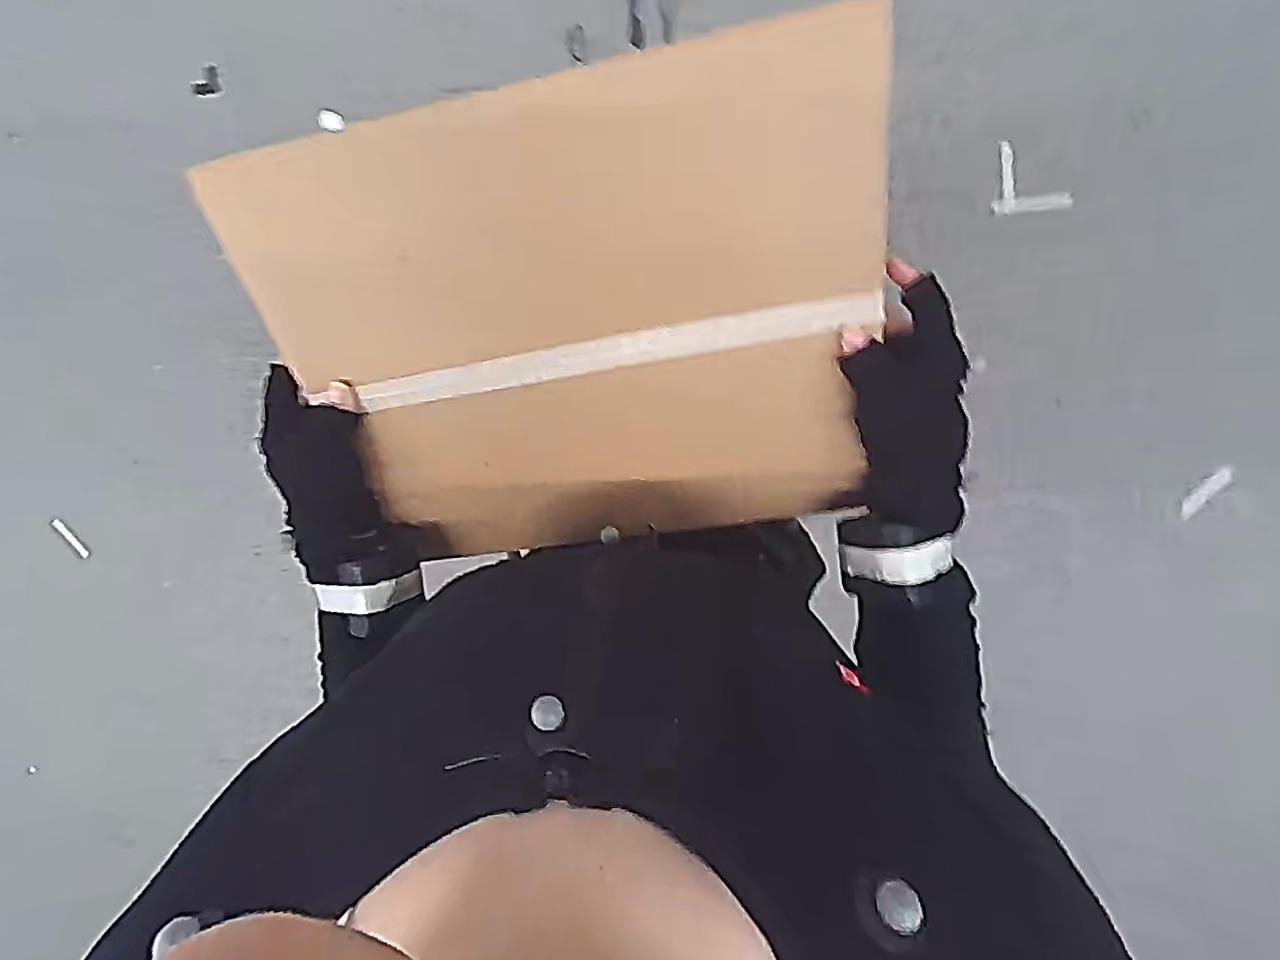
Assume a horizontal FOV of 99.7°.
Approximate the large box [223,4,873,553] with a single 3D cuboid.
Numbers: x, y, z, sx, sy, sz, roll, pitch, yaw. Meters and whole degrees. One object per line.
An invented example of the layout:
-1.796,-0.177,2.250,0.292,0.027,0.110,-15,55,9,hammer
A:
-0.037,-0.167,0.511,0.408,0.320,0.320,-8,122,8,large box
